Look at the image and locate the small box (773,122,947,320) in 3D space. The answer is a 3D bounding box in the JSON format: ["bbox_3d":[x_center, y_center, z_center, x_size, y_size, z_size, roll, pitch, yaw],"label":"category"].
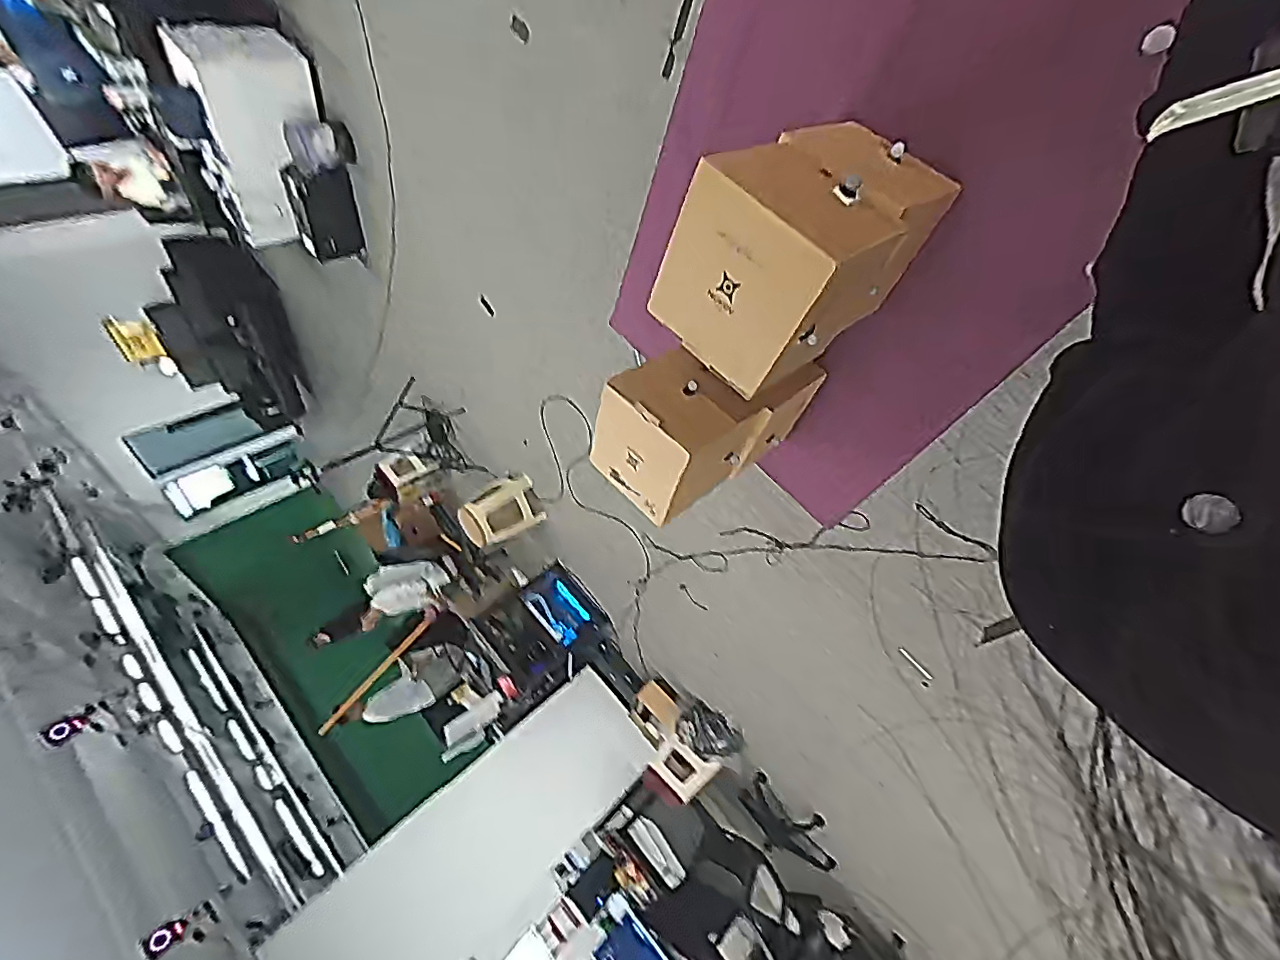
[{"bbox_3d":[0.241,-0.315,0.678,0.168,0.176,0.179,44,144,17],"label":"small box"}]

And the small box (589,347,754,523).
[{"bbox_3d":[0.048,-0.074,0.825,0.168,0.176,0.179,43,143,20],"label":"small box"}]

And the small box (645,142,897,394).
[{"bbox_3d":[0.138,-0.231,0.585,0.168,0.176,0.179,45,143,14],"label":"small box"}]

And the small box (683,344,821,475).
[{"bbox_3d":[0.168,-0.148,0.910,0.179,0.176,0.168,44,145,18],"label":"small box"}]
